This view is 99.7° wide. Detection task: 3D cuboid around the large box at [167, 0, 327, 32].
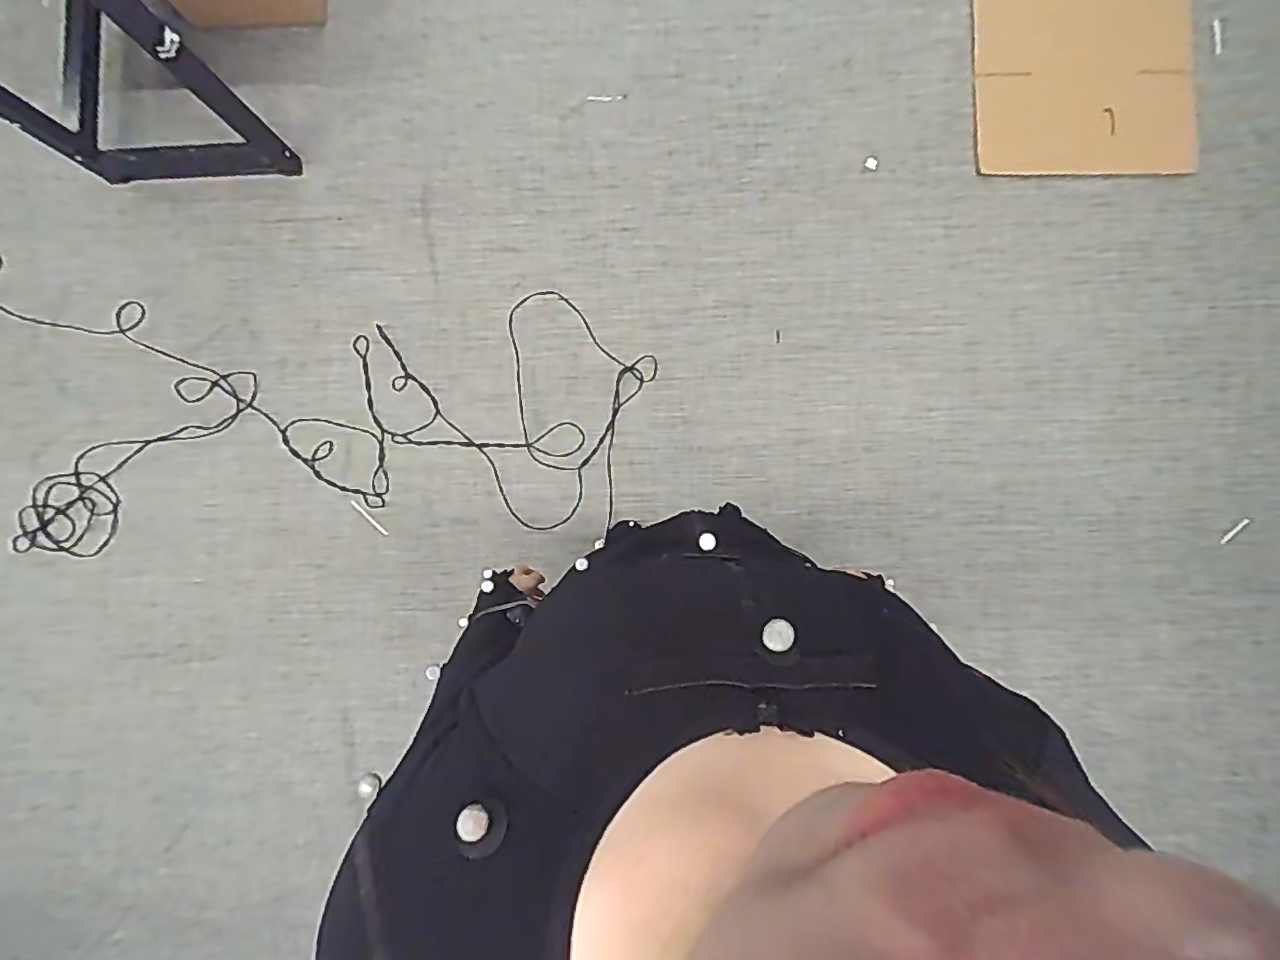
[{"bbox_3d":[-1.139,-1.503,1.475,0.408,0.320,0.320,-1,88,0],"label":"large box"}]
